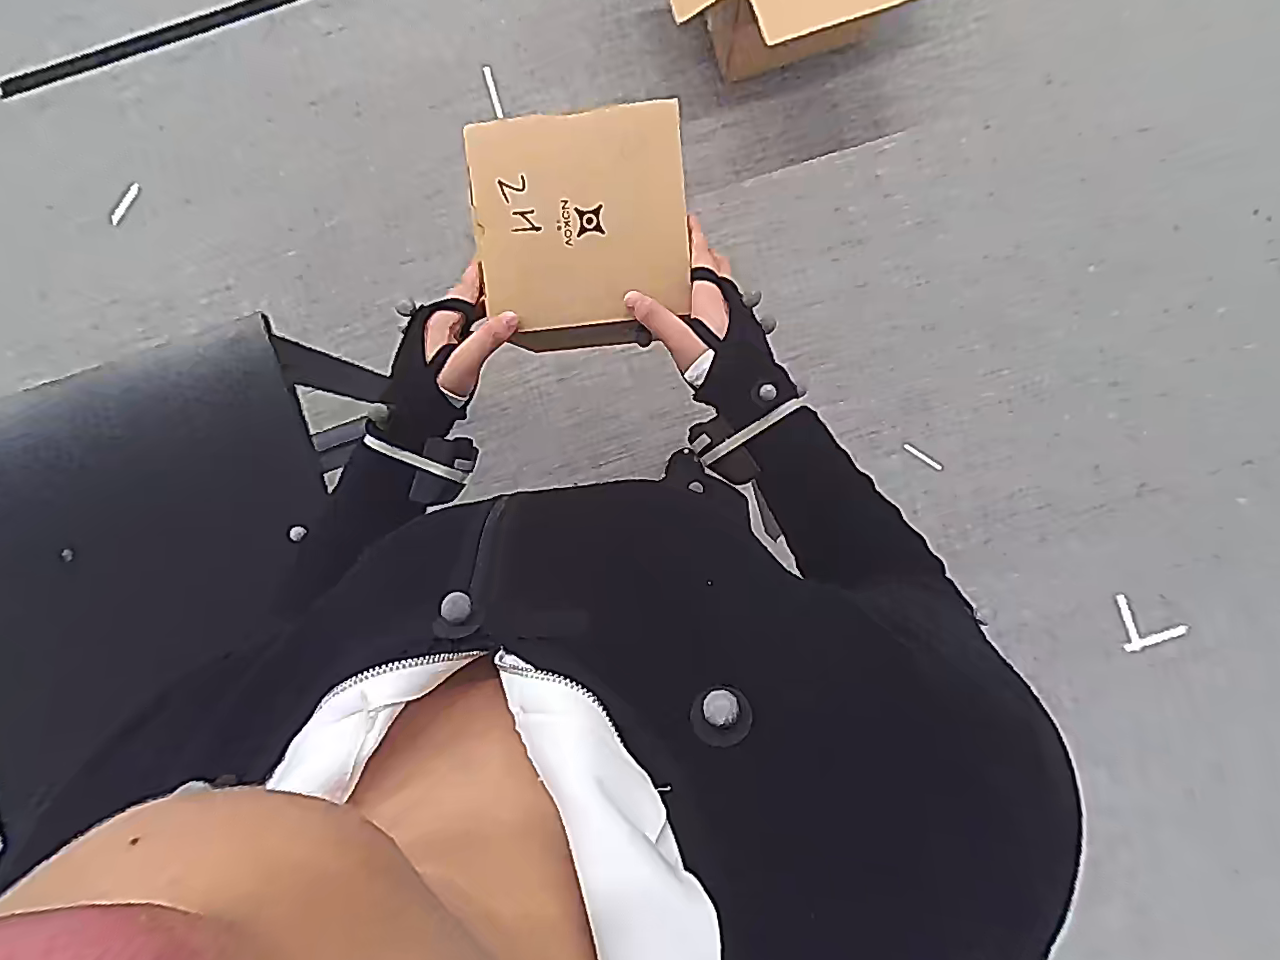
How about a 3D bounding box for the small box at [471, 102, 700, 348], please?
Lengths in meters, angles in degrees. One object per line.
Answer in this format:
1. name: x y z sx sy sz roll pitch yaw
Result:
1. small box: -0.040 -0.223 0.519 0.179 0.176 0.168 -5 98 4
